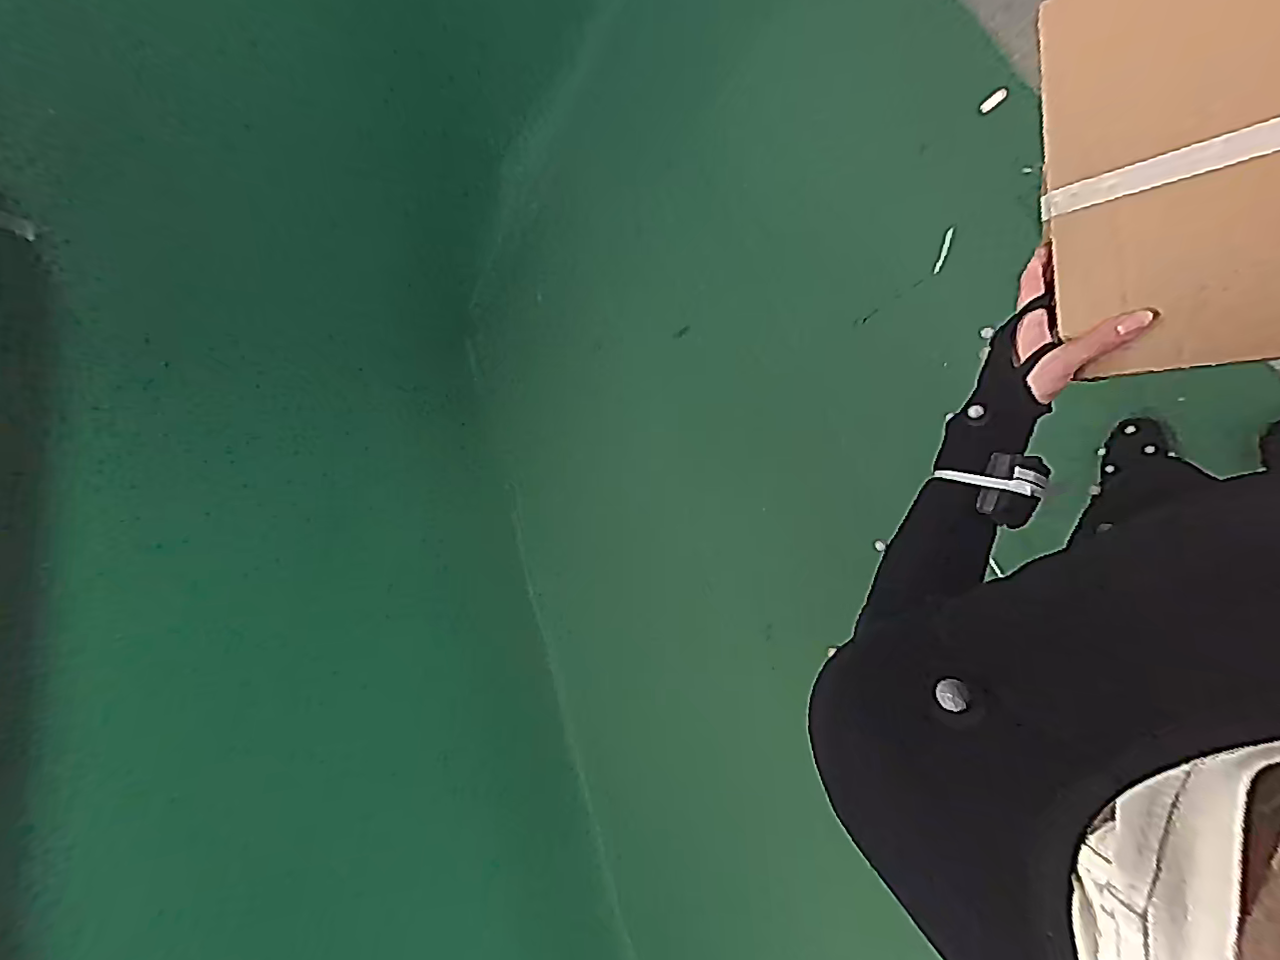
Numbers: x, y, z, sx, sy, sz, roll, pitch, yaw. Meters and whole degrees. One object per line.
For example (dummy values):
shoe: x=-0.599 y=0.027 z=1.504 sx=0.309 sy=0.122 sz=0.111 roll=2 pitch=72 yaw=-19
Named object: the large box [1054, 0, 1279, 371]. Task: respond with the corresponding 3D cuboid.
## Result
large box: x=0.610 y=-0.284 z=0.423 sx=0.408 sy=0.320 sz=0.320 roll=1 pitch=105 yaw=48
